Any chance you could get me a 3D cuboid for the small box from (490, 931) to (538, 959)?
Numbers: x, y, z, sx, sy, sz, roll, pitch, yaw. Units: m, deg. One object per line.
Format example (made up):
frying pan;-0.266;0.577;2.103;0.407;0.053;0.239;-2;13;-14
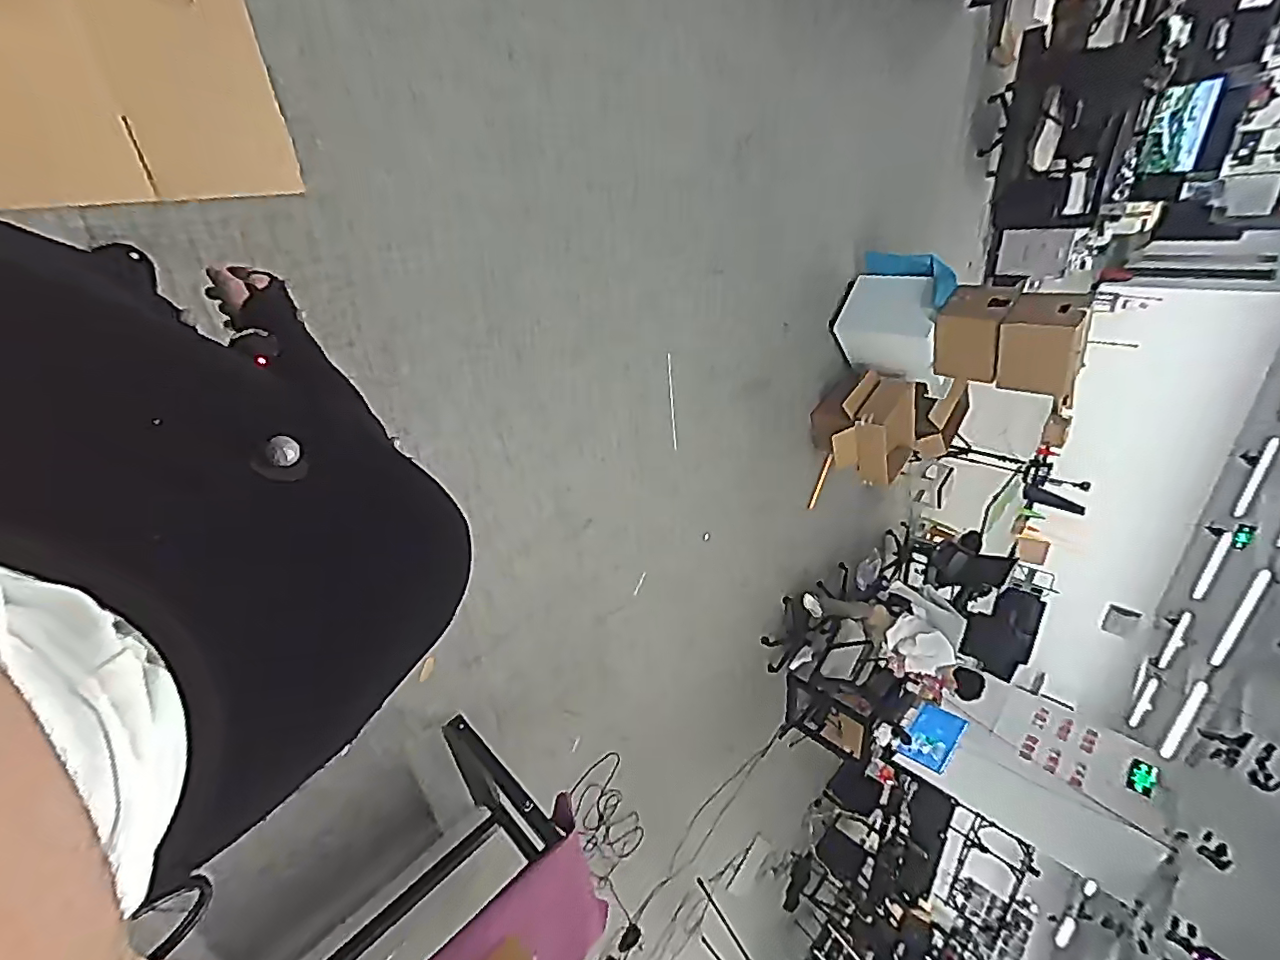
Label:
small box;-0.357;1.452;1.529;0.179;0.176;0.168;-32;127;-35
